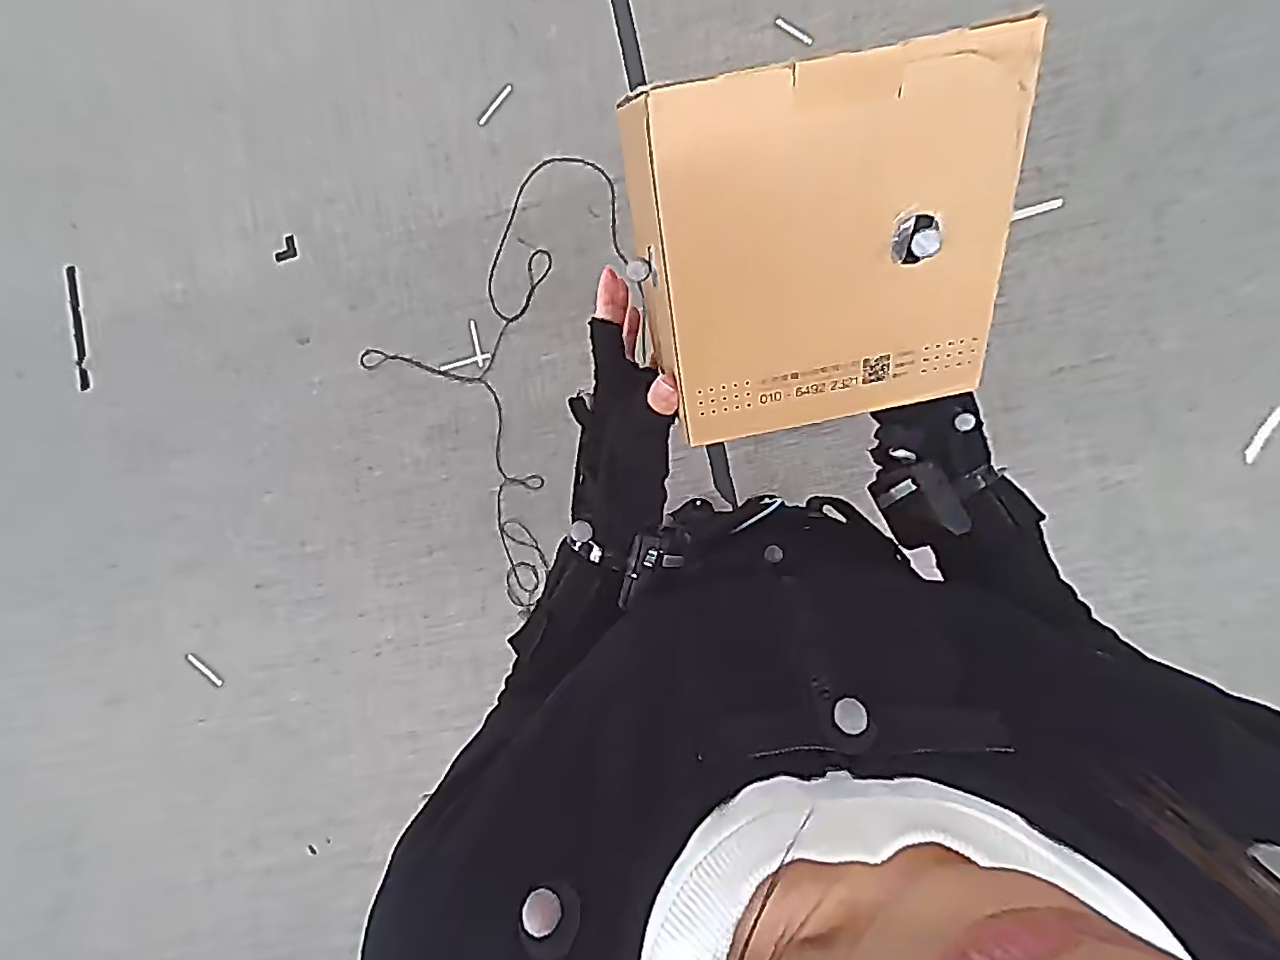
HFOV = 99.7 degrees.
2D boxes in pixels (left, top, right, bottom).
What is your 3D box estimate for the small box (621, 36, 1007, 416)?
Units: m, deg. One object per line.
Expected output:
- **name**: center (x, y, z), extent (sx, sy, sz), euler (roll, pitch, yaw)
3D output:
- **small box**: center (0.087, -0.151, 0.347), extent (0.168, 0.179, 0.176), euler (-11, 123, 0)
